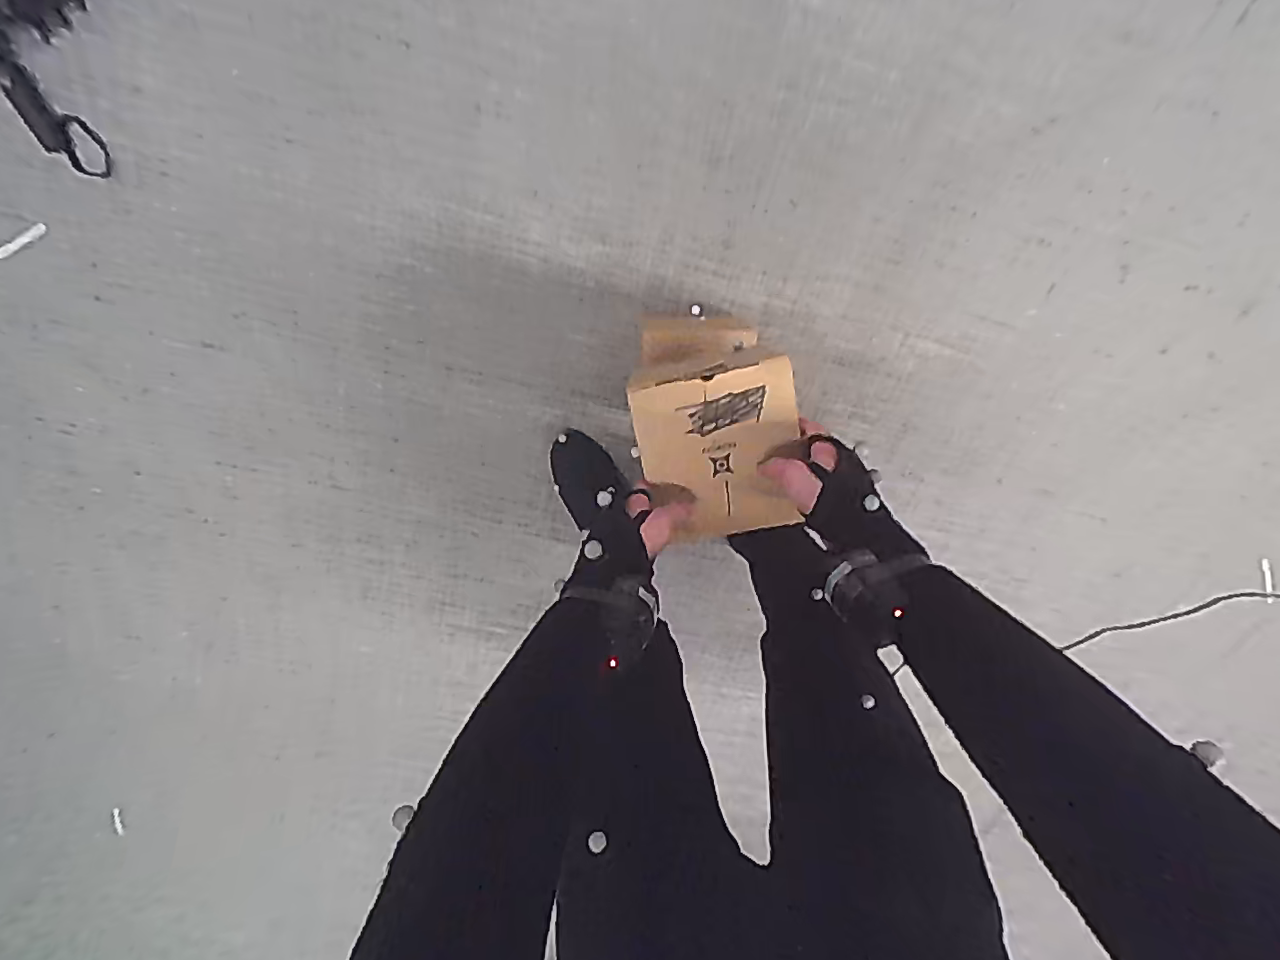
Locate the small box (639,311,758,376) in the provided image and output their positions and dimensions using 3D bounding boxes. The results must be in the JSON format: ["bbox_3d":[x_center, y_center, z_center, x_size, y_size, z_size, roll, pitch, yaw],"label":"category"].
[{"bbox_3d":[0.084,-0.165,0.859,0.168,0.176,0.179,-2,115,-1],"label":"small box"}]

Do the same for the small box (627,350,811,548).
[{"bbox_3d":[0.086,-0.046,0.621,0.168,0.176,0.179,-11,108,8],"label":"small box"}]
